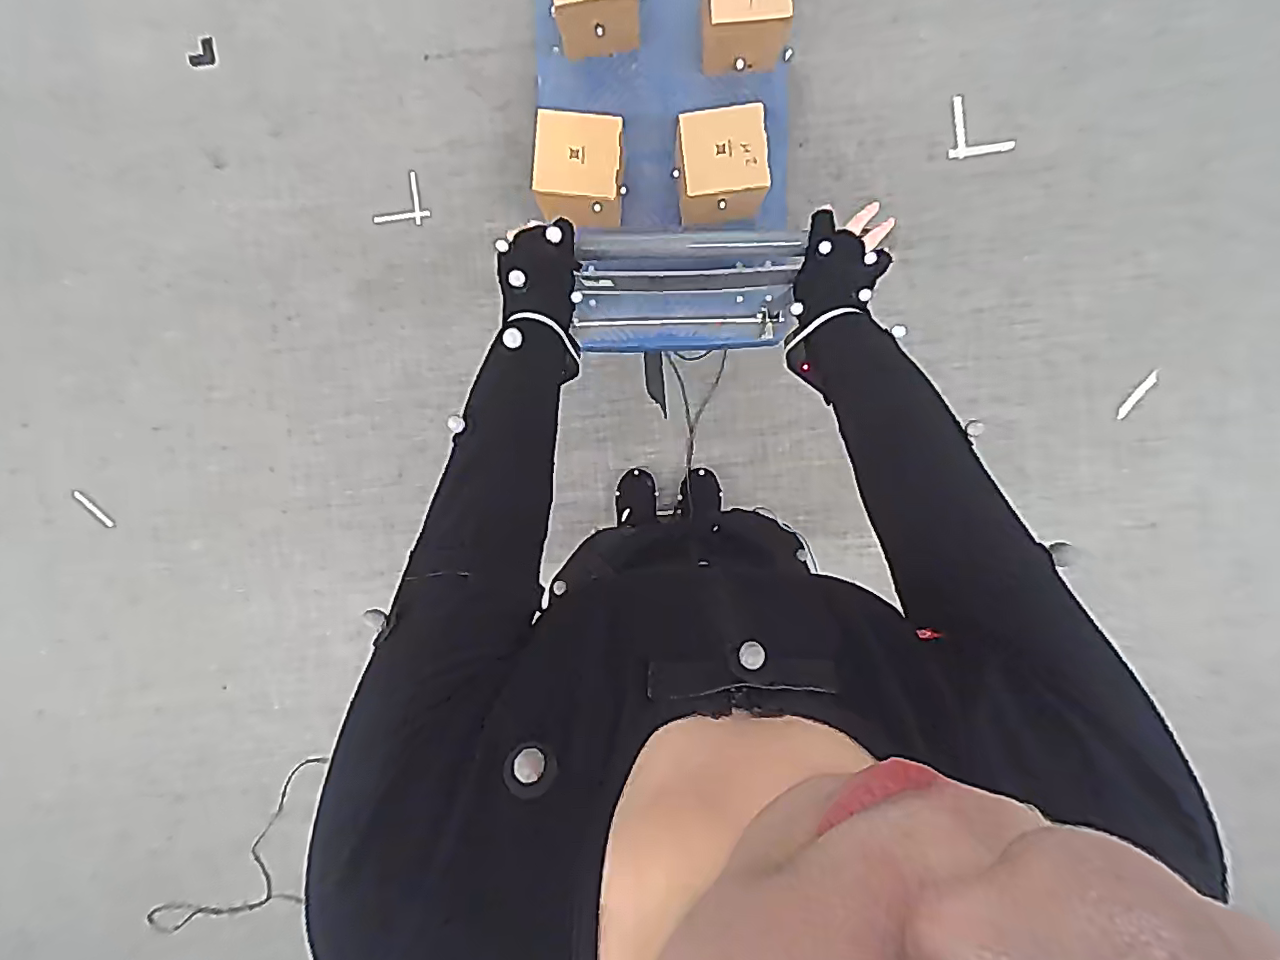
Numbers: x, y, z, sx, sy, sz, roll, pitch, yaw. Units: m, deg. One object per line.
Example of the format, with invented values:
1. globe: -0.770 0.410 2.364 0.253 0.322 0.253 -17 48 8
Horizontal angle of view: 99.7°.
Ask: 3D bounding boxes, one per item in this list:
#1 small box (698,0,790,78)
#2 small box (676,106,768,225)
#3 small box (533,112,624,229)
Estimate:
1. small box: 0.219 -1.020 1.171 0.168 0.176 0.179 -4 95 1
2. small box: 0.174 -0.684 1.196 0.179 0.176 0.168 -7 94 1
3. small box: -0.129 -0.675 1.199 0.179 0.176 0.168 4 93 -1
